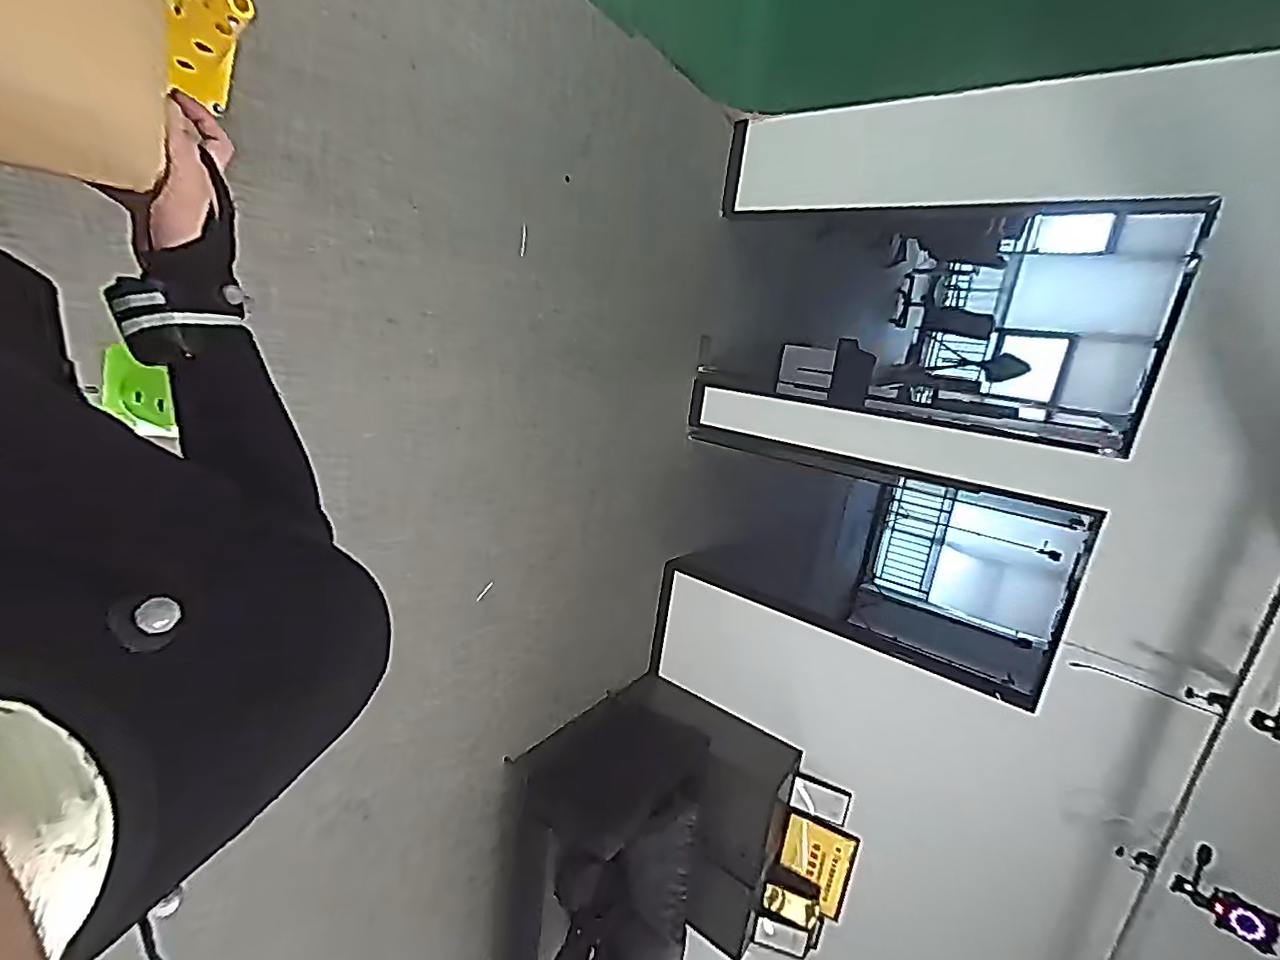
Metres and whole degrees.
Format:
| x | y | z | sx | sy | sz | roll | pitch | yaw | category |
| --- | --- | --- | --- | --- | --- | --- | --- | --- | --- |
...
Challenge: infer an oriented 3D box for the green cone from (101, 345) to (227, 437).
| x | y | z | sx | sy | sz | roll | pitch | yaw | category |
| --- | --- | --- | --- | --- | --- | --- | --- | --- | --- |
| -0.995 | -0.167 | 1.185 | 0.200 | 0.368 | 0.202 | -1 | 104 | -56 | green cone |
